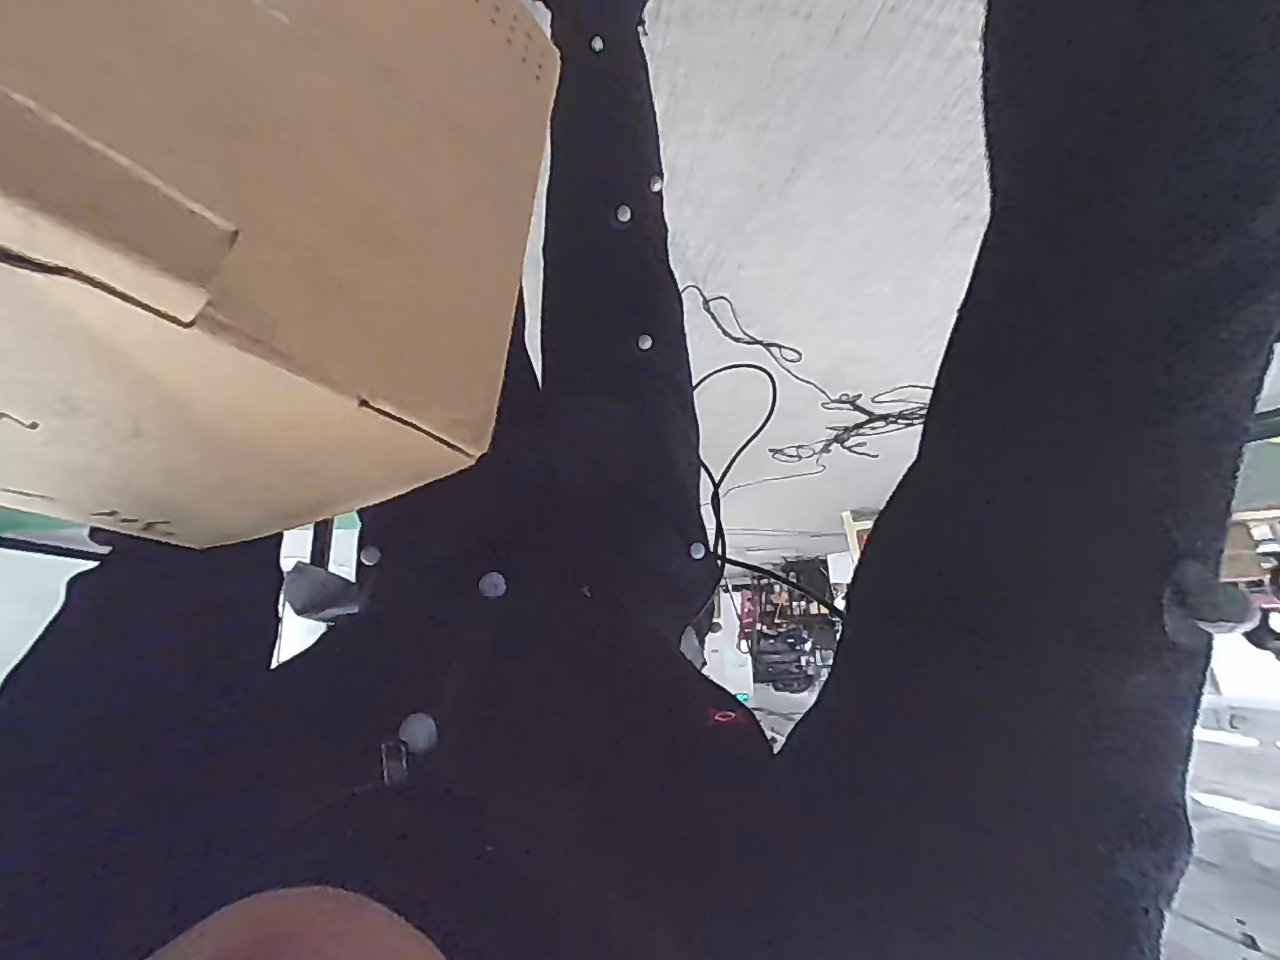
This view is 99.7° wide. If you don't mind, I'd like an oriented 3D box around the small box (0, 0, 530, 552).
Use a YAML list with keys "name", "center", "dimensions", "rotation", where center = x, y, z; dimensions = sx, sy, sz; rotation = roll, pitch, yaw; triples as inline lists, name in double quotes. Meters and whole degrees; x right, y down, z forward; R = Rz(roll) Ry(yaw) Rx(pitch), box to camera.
- name: "small box"
  center: [-0.146, -0.091, 0.149]
  dimensions: [0.179, 0.176, 0.168]
  rotation: [-14, 151, 32]
